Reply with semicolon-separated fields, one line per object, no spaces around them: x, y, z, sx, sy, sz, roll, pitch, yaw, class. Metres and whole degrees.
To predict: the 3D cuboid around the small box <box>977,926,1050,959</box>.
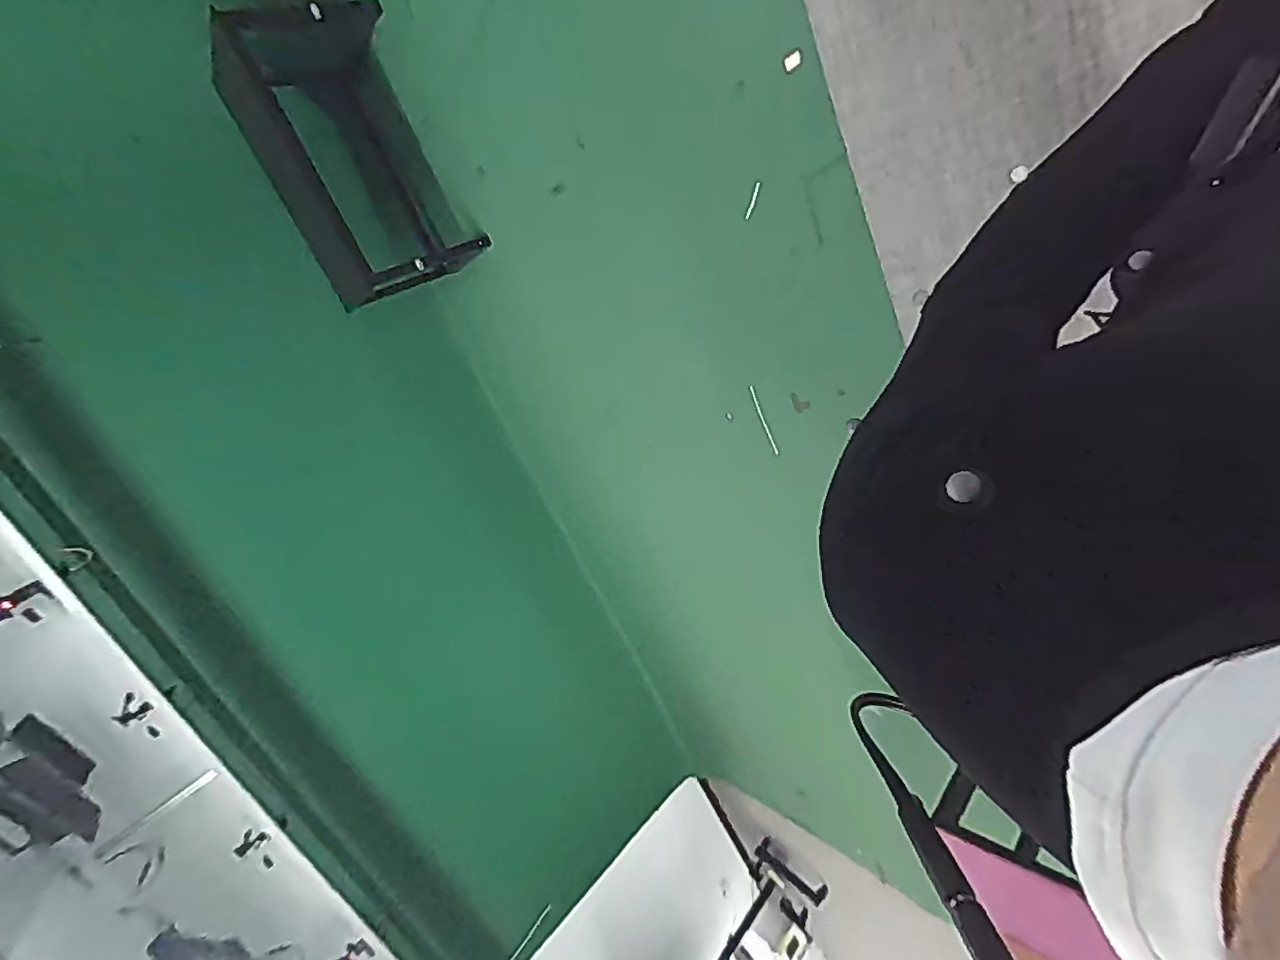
1.070;1.430;1.522;0.168;0.176;0.179;0;120;54;small box
